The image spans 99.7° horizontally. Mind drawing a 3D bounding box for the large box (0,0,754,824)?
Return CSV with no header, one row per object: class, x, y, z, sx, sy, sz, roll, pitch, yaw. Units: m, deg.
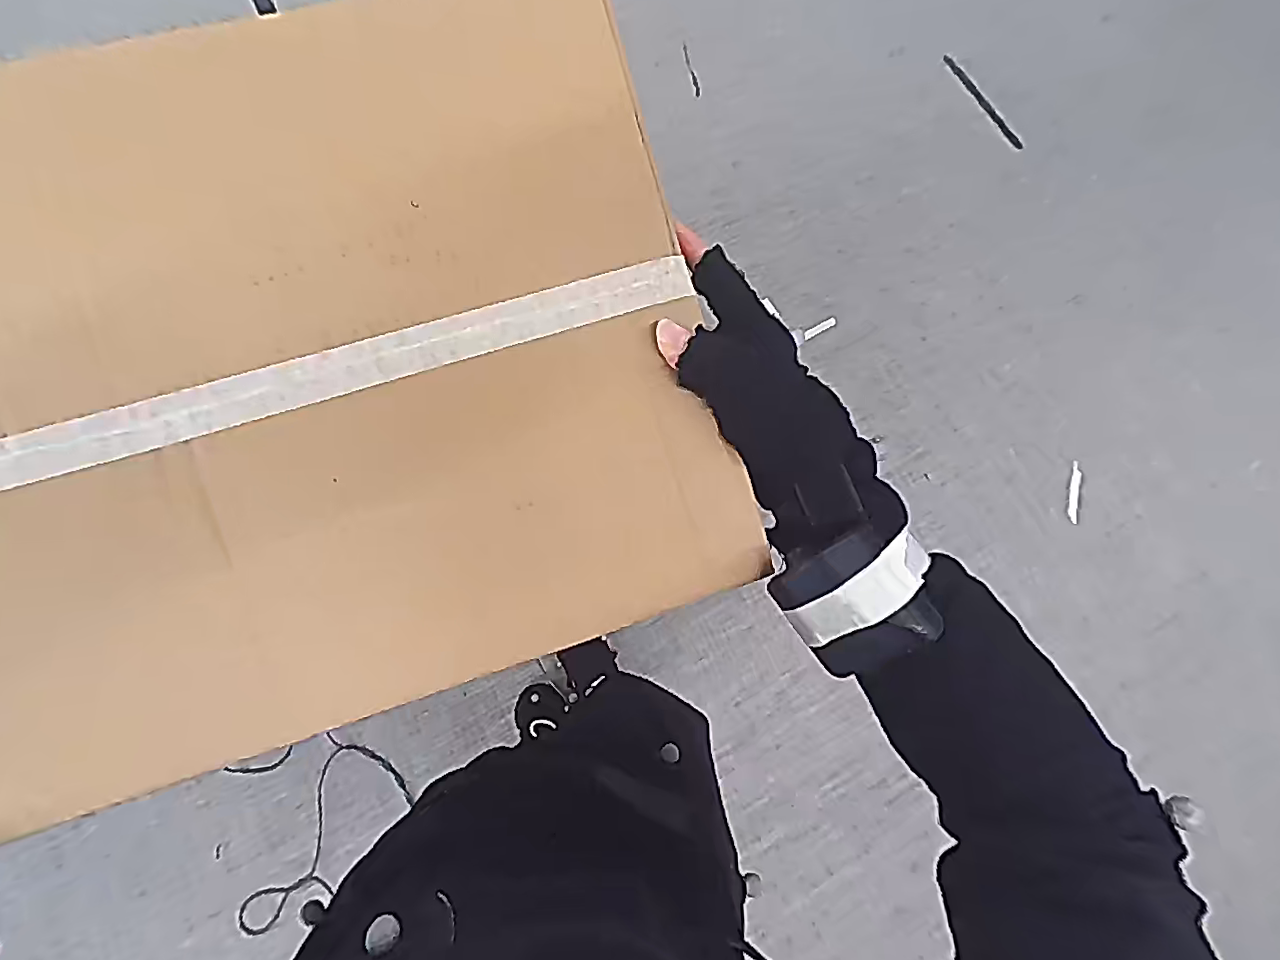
large box,-0.186,-0.049,0.404,0.408,0.320,0.320,-17,93,-7
